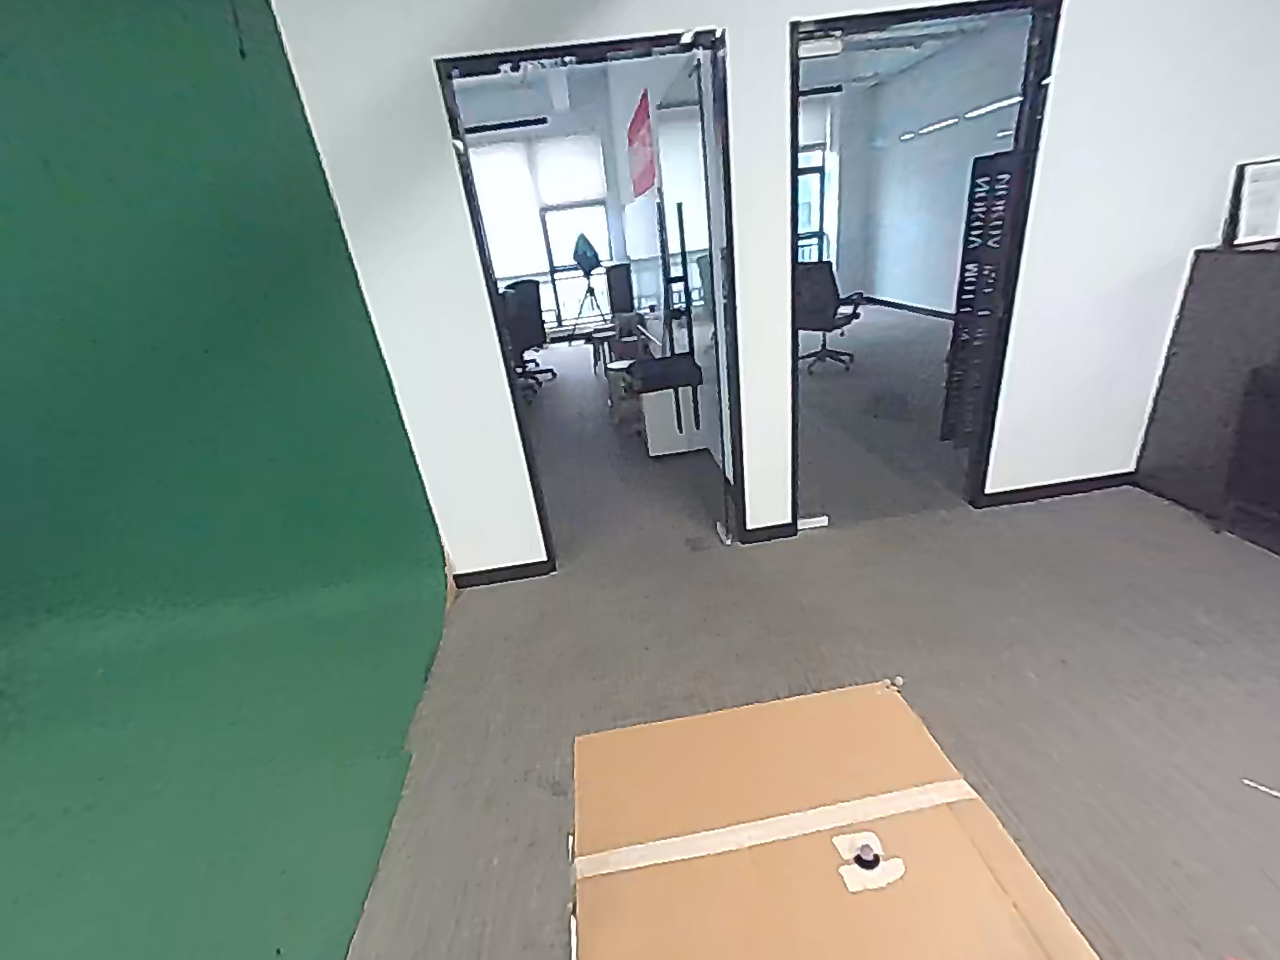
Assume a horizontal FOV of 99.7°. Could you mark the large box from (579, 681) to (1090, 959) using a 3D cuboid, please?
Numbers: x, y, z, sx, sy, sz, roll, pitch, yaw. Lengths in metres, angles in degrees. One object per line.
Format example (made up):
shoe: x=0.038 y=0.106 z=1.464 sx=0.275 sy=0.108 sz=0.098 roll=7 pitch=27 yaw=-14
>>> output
large box: x=0.154 y=0.482 z=0.599 sx=0.408 sy=0.320 sz=0.320 roll=-8 pitch=24 yaw=-5
